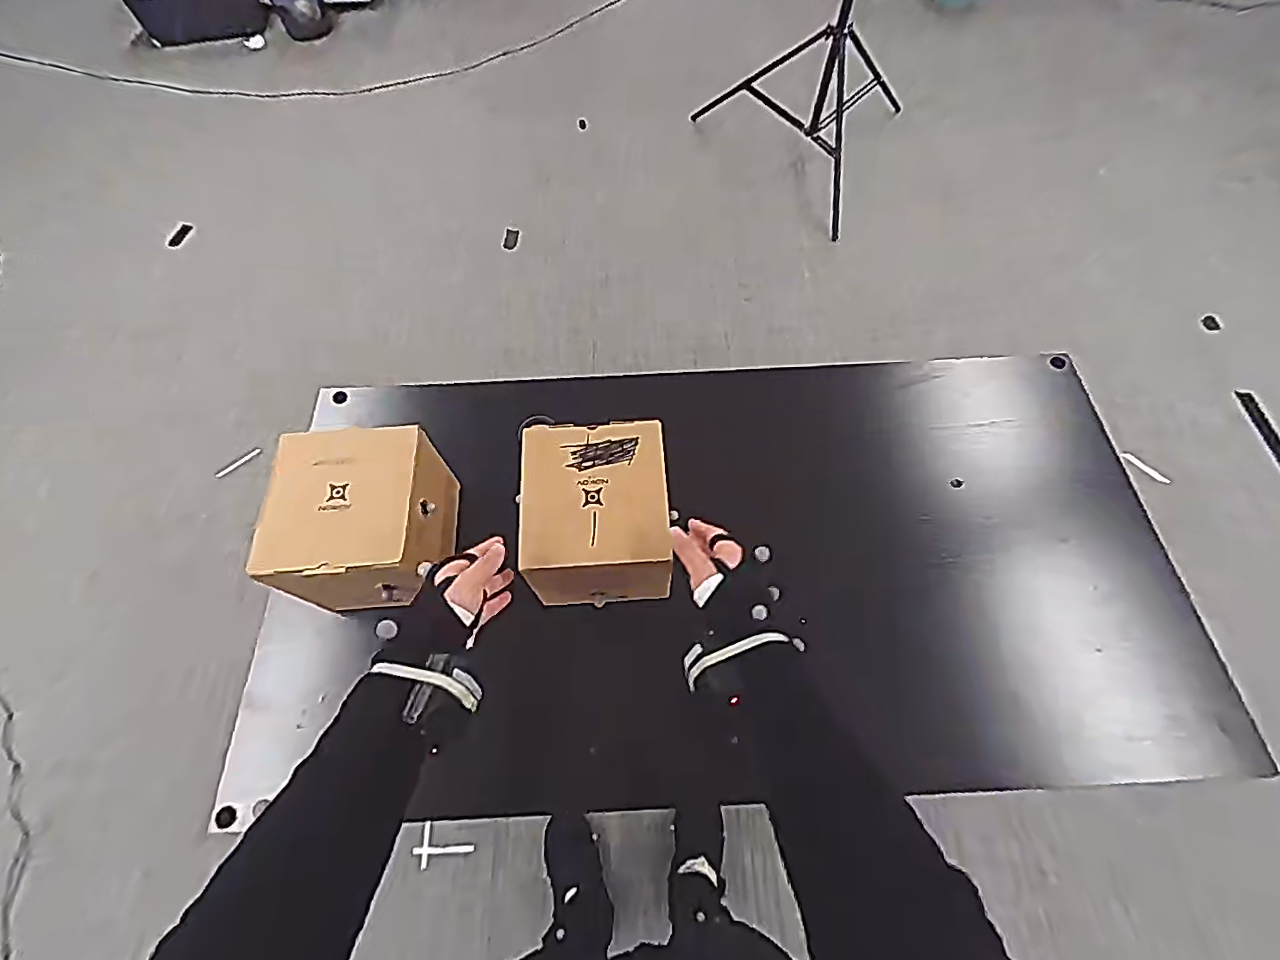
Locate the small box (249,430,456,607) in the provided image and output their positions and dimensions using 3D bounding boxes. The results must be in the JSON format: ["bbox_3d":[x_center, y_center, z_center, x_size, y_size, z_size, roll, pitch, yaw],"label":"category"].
[{"bbox_3d":[-0.341,0.058,0.684,0.168,0.176,0.179,-4,63,-3],"label":"small box"}]

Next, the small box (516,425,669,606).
[{"bbox_3d":[-0.054,0.050,0.683,0.168,0.176,0.179,-4,64,-1],"label":"small box"}]
